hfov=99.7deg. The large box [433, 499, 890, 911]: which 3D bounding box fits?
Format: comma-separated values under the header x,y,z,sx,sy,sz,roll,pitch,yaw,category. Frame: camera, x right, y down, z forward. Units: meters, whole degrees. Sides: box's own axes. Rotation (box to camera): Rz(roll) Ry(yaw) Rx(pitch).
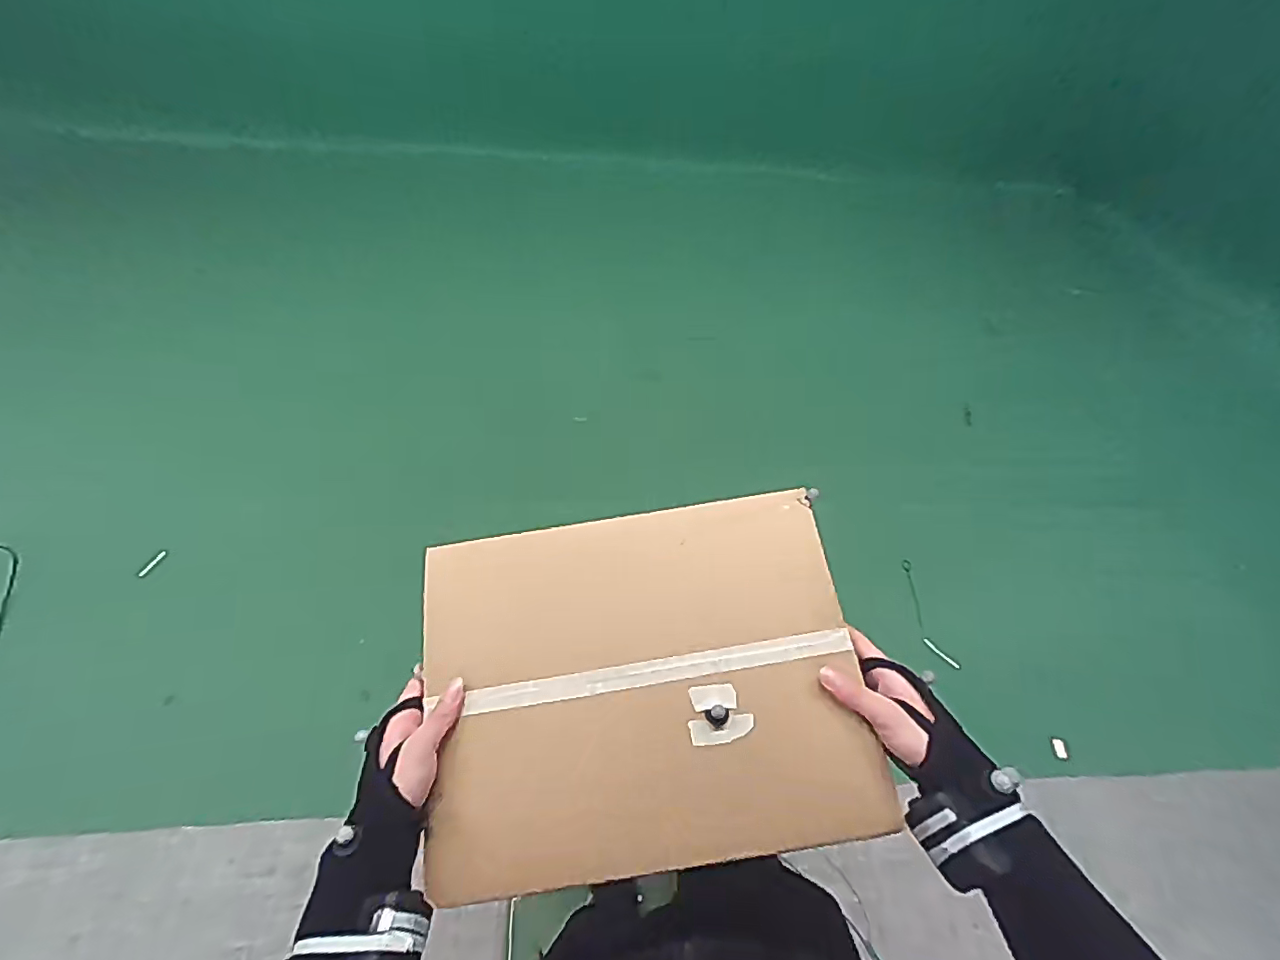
x,y,z,sx,sy,sz,roll,pitch,yaw,category
0.005,0.252,0.657,0.408,0.320,0.320,-10,67,-1,large box
